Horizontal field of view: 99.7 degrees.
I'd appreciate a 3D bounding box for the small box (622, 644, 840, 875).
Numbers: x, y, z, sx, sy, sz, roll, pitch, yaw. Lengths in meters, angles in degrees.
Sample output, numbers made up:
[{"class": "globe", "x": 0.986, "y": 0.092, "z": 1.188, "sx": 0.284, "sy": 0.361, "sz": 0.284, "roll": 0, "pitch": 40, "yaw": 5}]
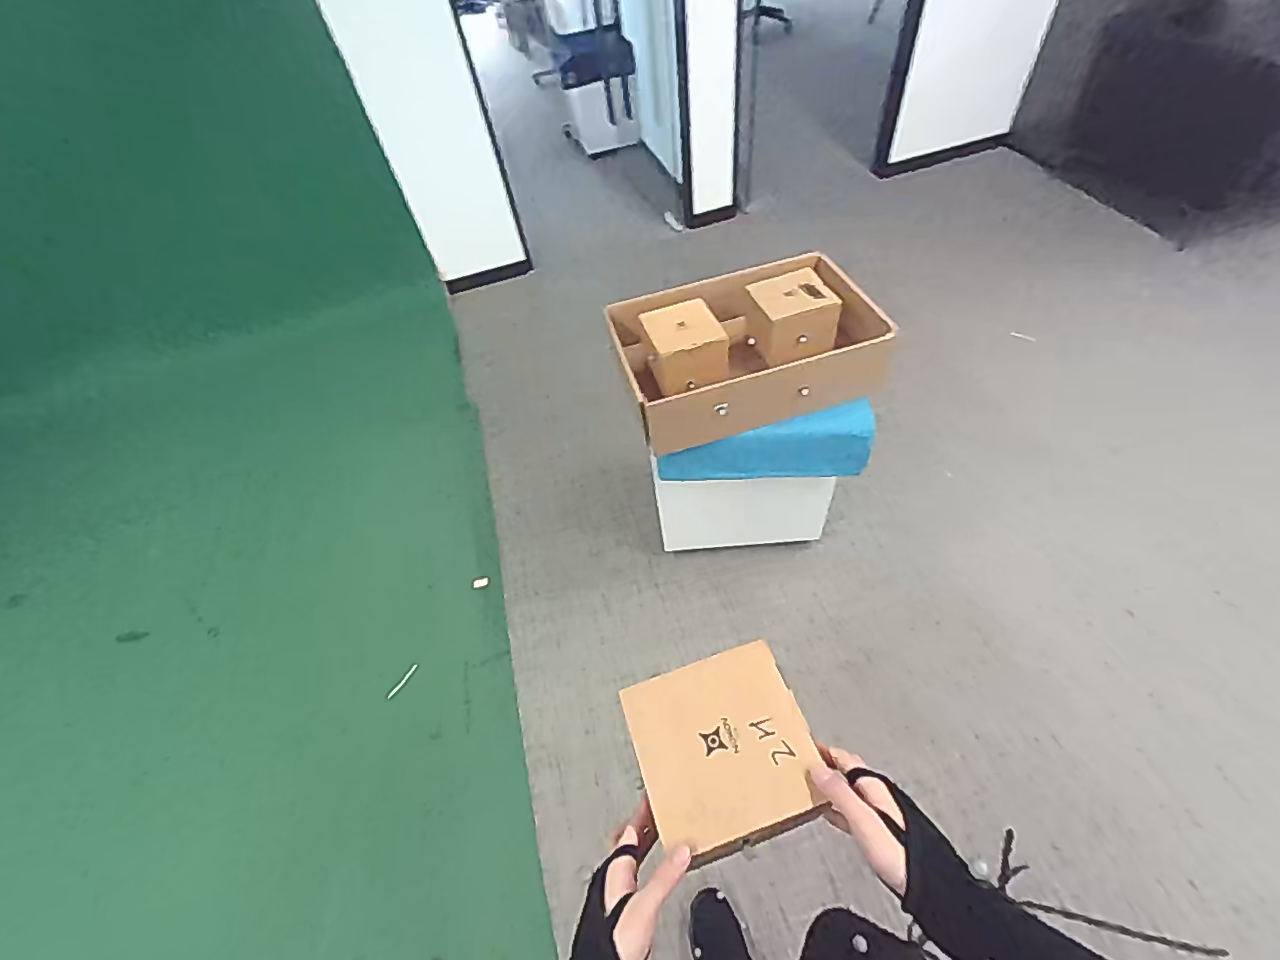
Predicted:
[{"class": "small box", "x": 0.093, "y": 0.315, "z": 0.602, "sx": 0.179, "sy": 0.176, "sz": 0.168, "roll": -17, "pitch": 51, "yaw": -6}]
